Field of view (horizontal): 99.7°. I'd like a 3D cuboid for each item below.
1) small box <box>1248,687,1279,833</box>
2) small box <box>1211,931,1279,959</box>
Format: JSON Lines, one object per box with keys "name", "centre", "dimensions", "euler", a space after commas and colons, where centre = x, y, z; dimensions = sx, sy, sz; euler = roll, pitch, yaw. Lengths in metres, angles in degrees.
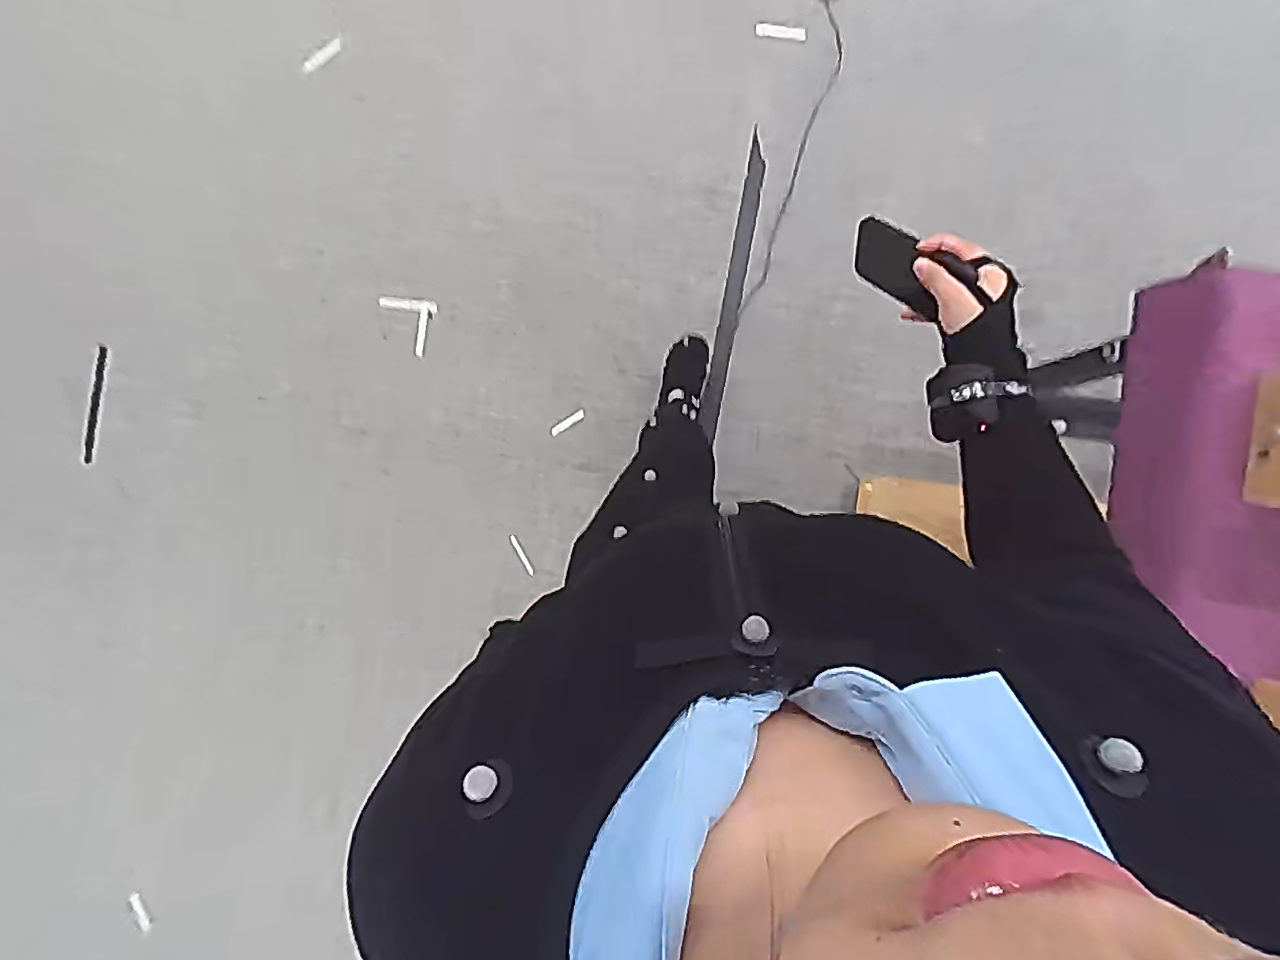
{"name": "small box", "centre": [0.853, 0.356, 0.601], "dimensions": [0.168, 0.176, 0.179], "euler": [7, 90, 3]}
{"name": "small box", "centre": [0.787, 0.668, 0.604], "dimensions": [0.168, 0.176, 0.179], "euler": [15, 91, 5]}
